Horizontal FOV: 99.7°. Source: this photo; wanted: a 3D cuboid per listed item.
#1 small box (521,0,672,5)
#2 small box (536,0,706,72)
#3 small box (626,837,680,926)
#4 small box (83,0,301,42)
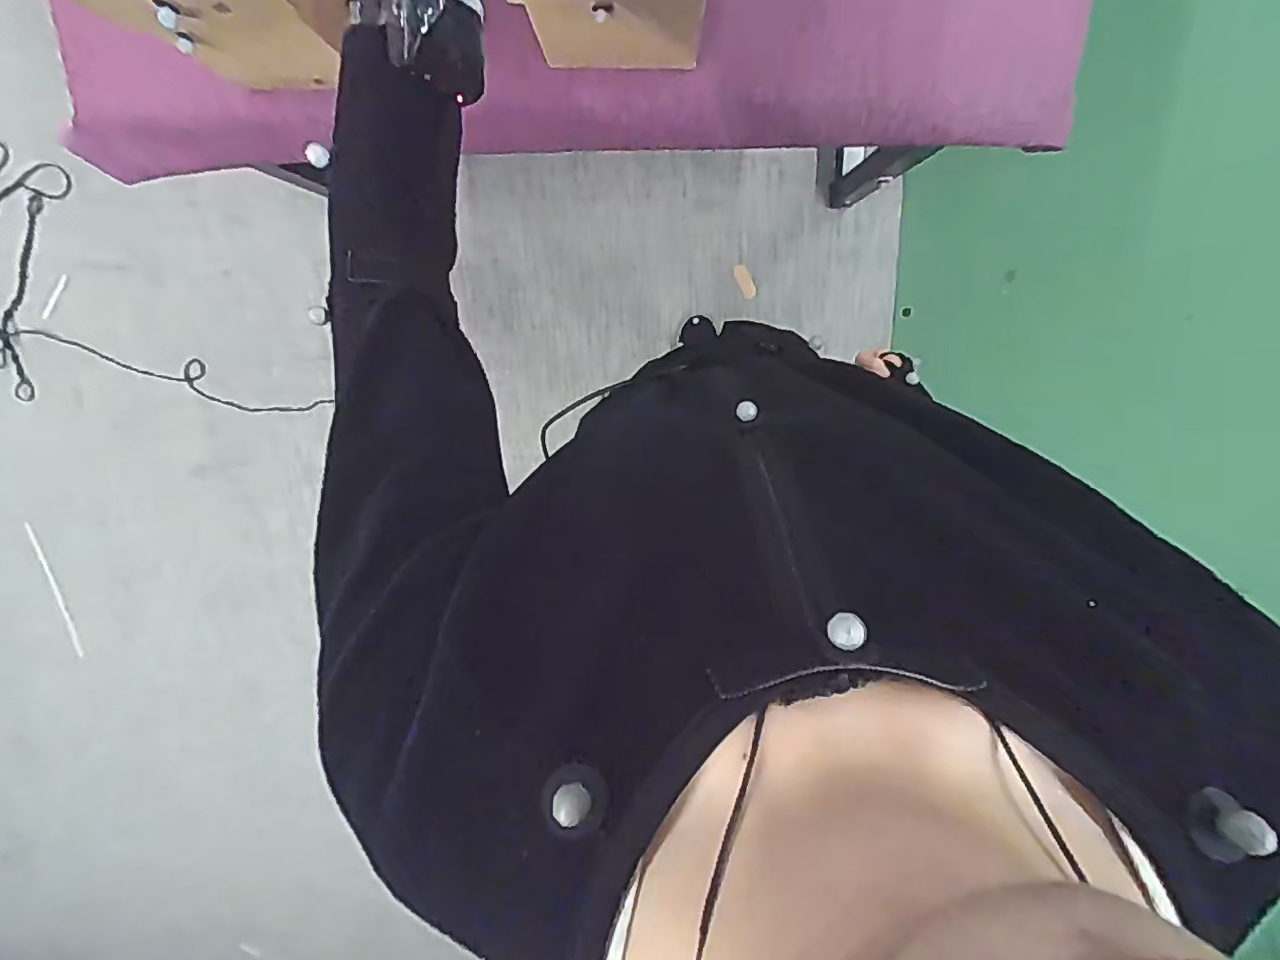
[{"bbox_3d":[-0.035,-0.483,0.387,0.179,0.176,0.168,1,105,3],"label":"small box"},{"bbox_3d":[-0.019,-0.540,0.541,0.179,0.176,0.168,1,105,0],"label":"small box"},{"bbox_3d":[0.042,1.320,1.786,0.168,0.176,0.179,3,105,1],"label":"small box"},{"bbox_3d":[-0.392,-0.474,0.397,0.168,0.176,0.179,-5,104,3],"label":"small box"}]
